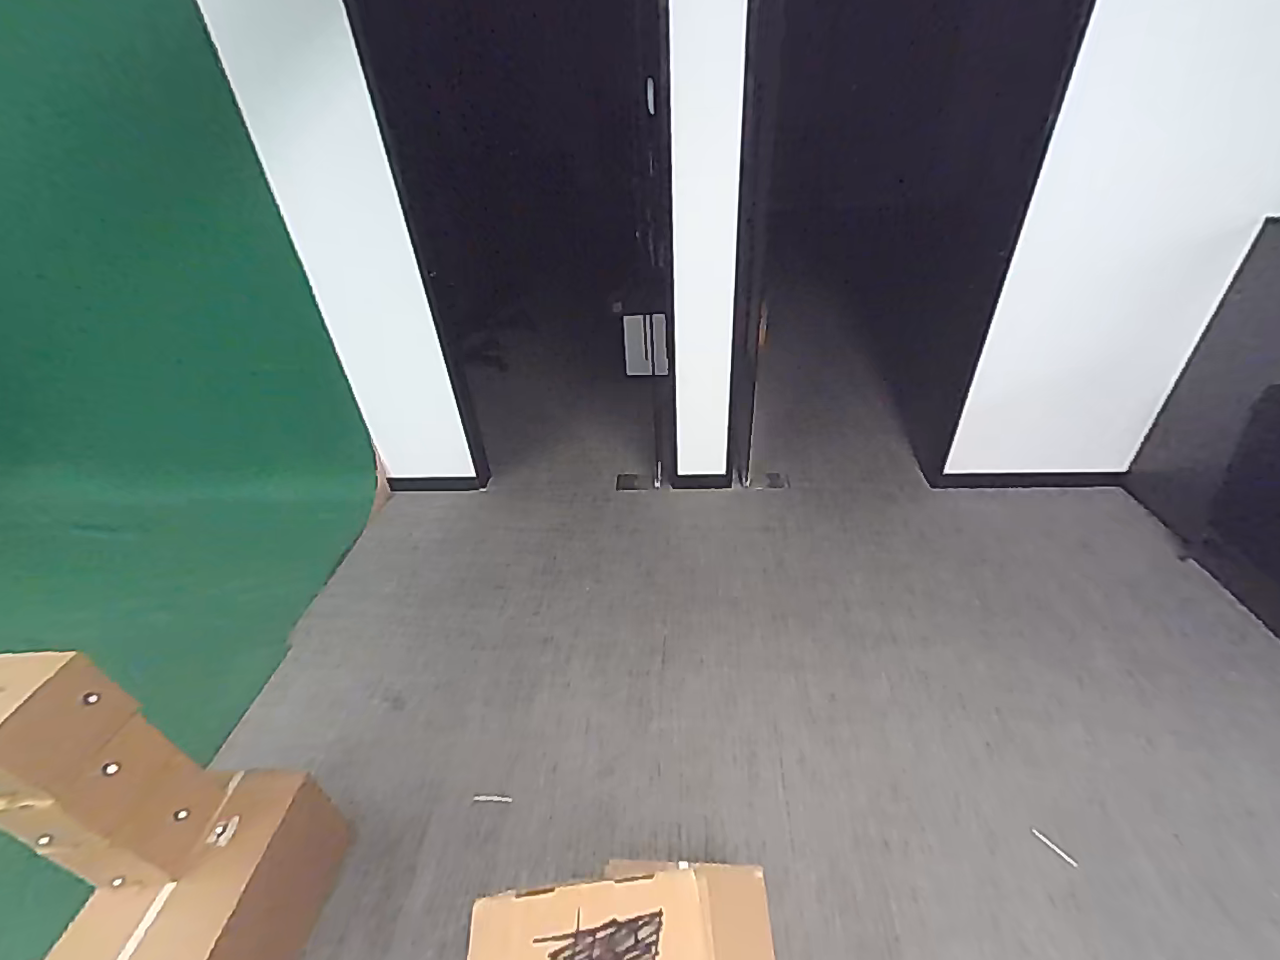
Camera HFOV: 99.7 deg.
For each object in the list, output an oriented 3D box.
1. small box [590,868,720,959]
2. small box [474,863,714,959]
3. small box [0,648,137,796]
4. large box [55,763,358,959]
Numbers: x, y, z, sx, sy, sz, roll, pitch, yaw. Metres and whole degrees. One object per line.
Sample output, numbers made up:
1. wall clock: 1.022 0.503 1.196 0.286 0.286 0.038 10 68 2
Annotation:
1. small box: 0.020 0.666 0.748 0.179 0.176 0.168 -5 35 2
2. small box: -0.022 0.409 0.390 0.168 0.176 0.179 -8 43 0
3. small box: -1.035 0.412 0.931 0.168 0.176 0.179 -3 37 8
4. large box: -0.913 0.910 1.202 0.320 0.320 0.408 -2 34 4
